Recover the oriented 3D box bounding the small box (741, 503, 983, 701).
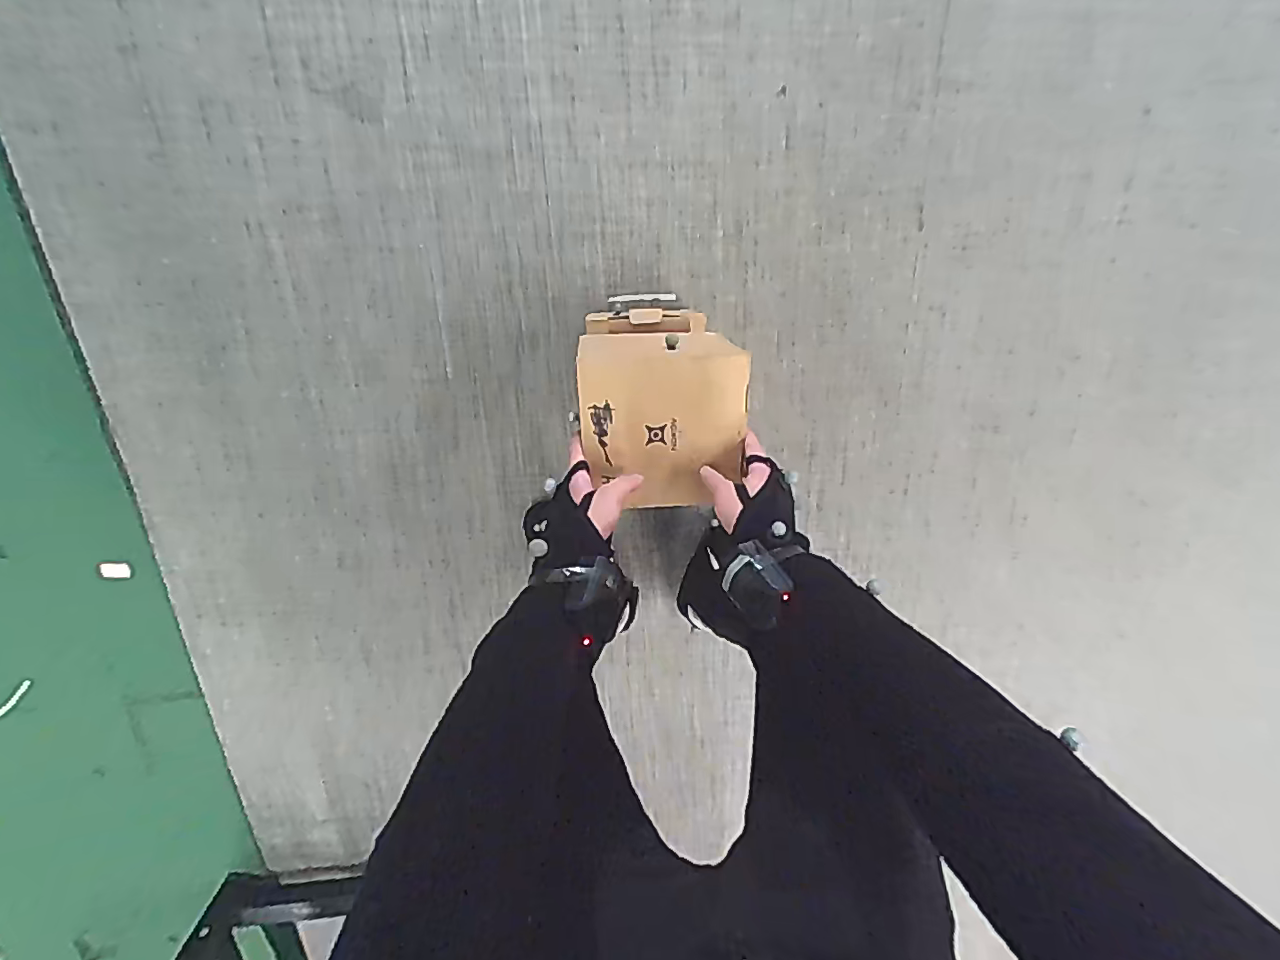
[{"bbox_3d":[0.198,0.117,0.534,0.176,0.179,0.168,2,77,3],"label":"small box"}]

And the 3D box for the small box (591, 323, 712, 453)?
[{"bbox_3d":[0.012,-0.146,0.818,0.168,0.176,0.179,-1,109,-2],"label":"small box"}]
